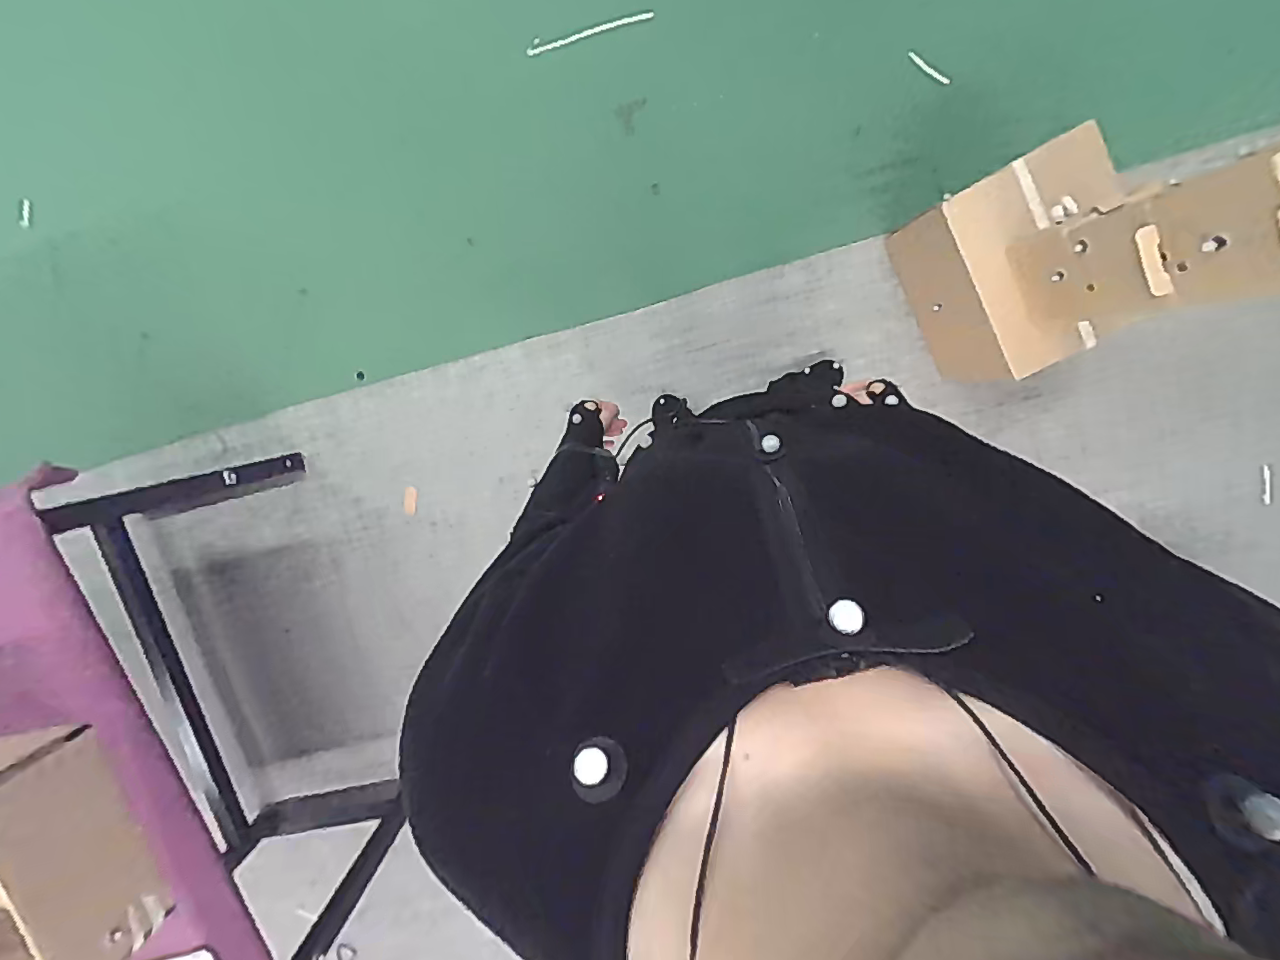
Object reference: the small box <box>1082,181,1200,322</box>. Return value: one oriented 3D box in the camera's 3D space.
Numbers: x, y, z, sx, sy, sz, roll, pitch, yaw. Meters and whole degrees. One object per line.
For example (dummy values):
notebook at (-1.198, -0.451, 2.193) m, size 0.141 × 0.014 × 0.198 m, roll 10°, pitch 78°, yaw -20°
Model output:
small box at (0.832, -0.357, 0.833) m, size 0.179 × 0.176 × 0.168 m, roll -22°, pitch 98°, yaw 9°

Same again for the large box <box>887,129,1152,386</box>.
large box at (0.838, -0.463, 1.230) m, size 0.320 × 0.320 × 0.408 m, roll -28°, pitch 96°, yaw 7°

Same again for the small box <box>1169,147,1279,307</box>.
small box at (0.821, -0.332, 0.671) m, size 0.179 × 0.176 × 0.168 m, roll -24°, pitch 98°, yaw 10°

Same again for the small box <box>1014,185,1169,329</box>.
small box at (0.835, -0.395, 0.993) m, size 0.168 × 0.176 × 0.179 m, roll -24°, pitch 98°, yaw 9°
